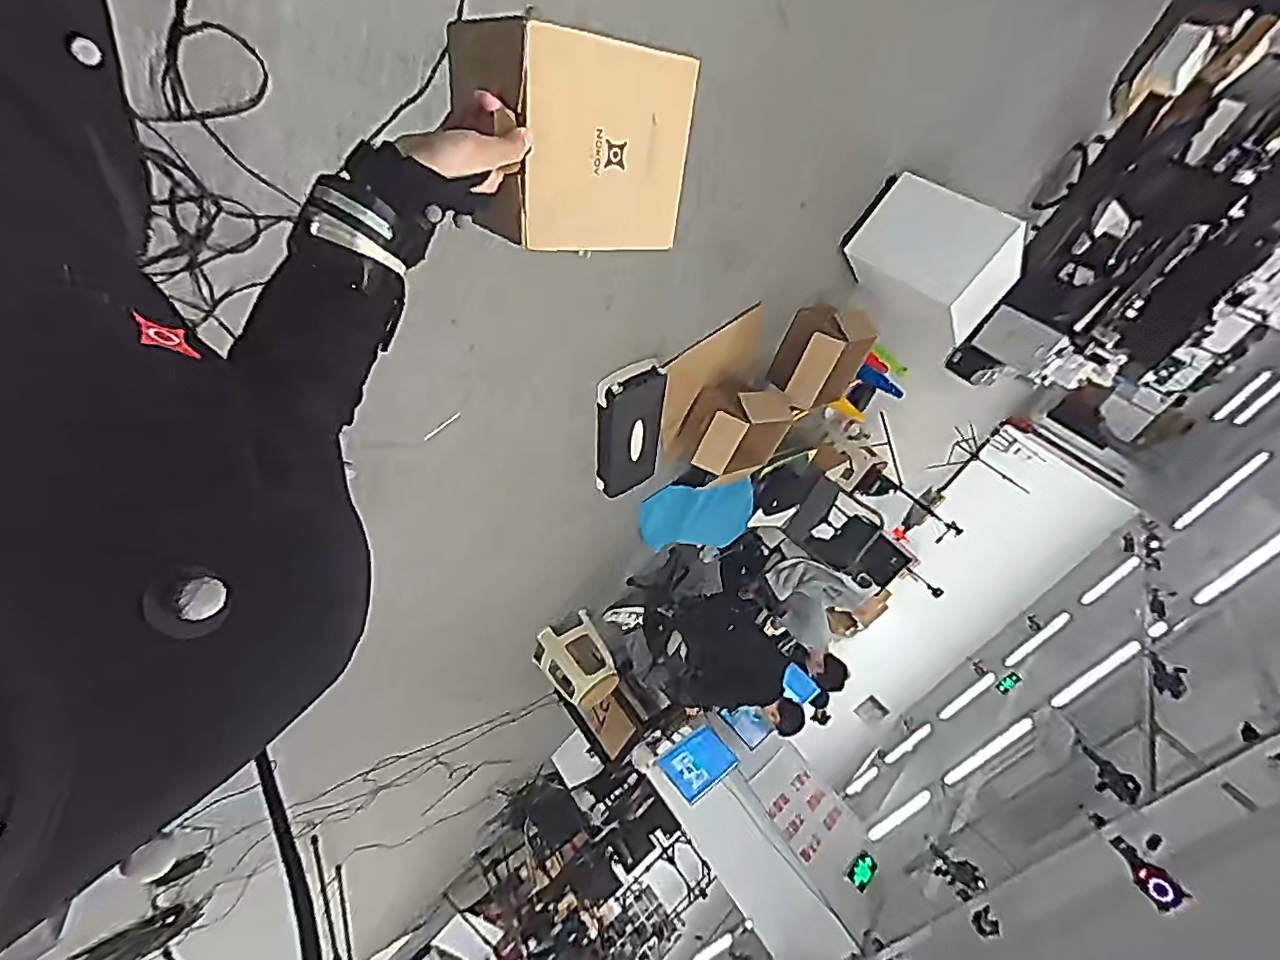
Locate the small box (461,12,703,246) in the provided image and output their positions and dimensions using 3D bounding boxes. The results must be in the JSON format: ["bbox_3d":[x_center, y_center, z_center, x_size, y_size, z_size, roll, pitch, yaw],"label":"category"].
[{"bbox_3d":[-0.068,-0.340,0.540,0.179,0.176,0.168,-17,133,-33],"label":"small box"}]
